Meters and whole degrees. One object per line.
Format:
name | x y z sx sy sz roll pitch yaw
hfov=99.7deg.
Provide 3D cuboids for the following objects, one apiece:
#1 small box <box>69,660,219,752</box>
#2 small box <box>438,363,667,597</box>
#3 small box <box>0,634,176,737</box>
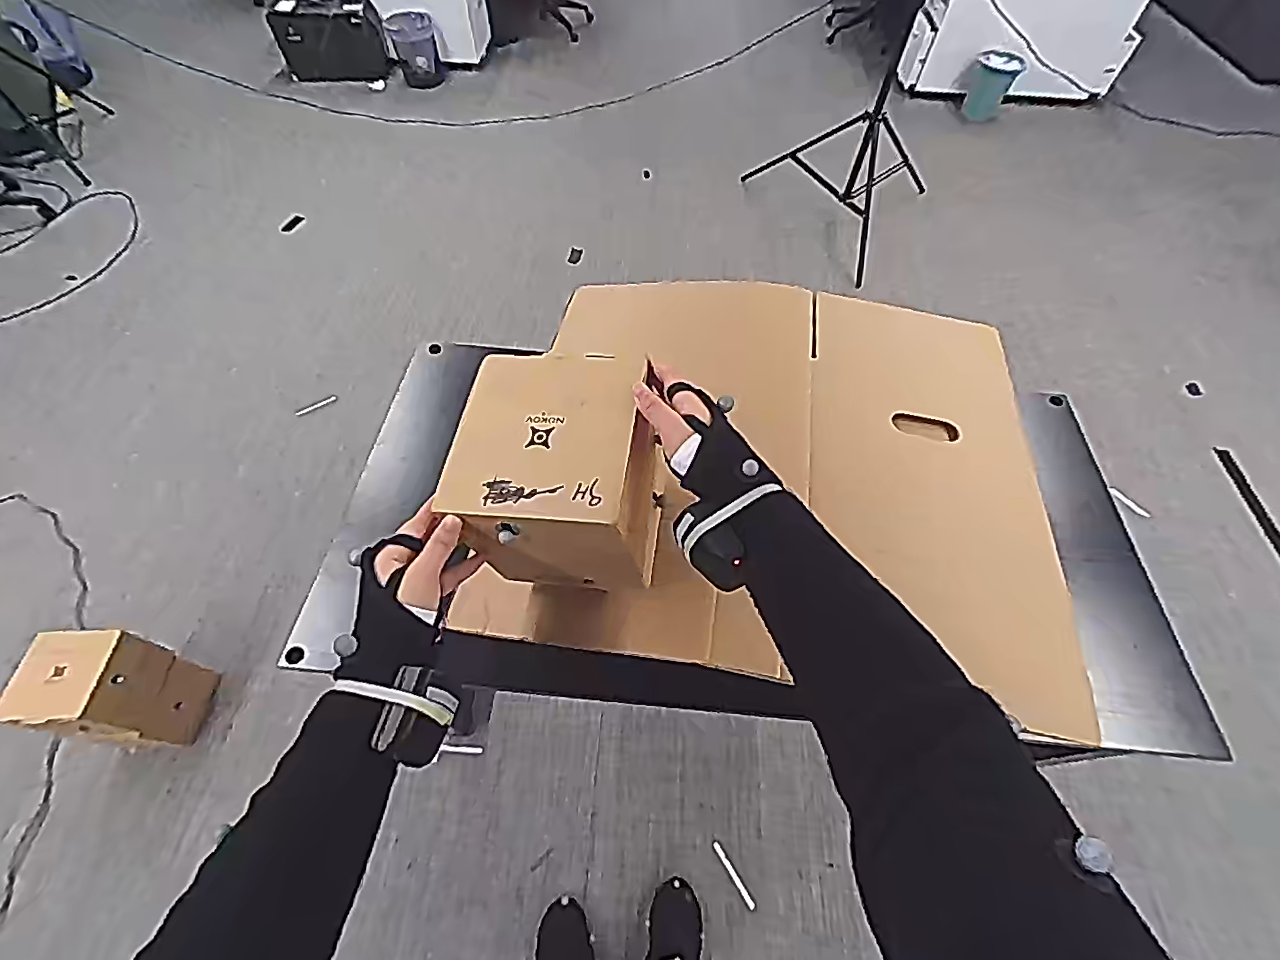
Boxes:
small box | -1.146 0.531 1.273 0.168 0.176 0.179 1 57 0
small box | -0.069 0.002 0.552 0.168 0.176 0.179 2 59 13
small box | -1.144 0.437 1.140 0.168 0.176 0.179 -1 56 -3
